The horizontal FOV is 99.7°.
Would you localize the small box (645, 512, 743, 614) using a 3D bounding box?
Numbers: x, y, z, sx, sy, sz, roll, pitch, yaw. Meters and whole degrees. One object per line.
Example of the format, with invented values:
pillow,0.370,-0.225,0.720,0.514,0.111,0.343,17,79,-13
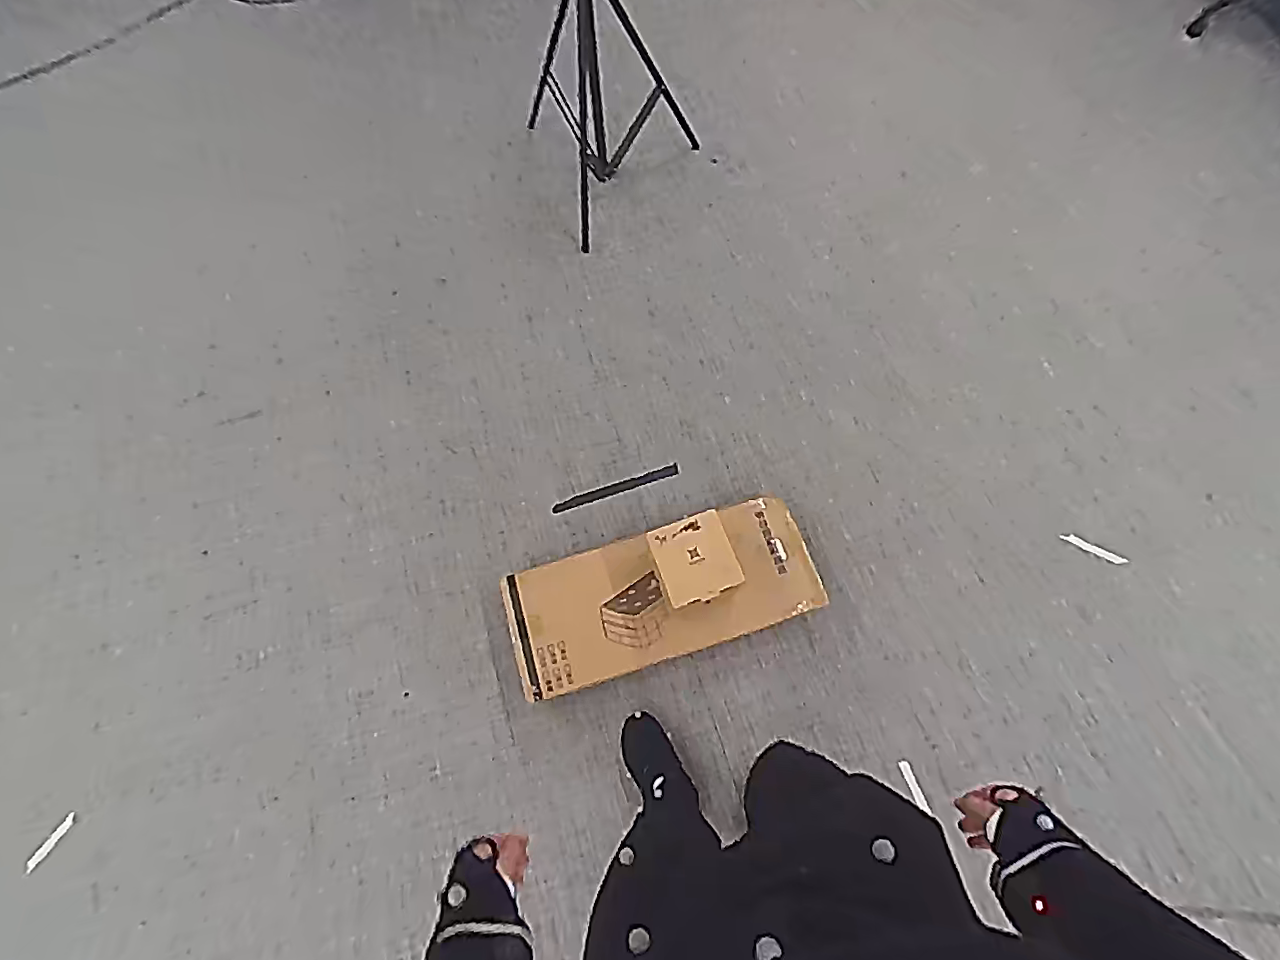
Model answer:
small box,0.117,0.197,1.227,0.168,0.176,0.179,-19,71,-6
